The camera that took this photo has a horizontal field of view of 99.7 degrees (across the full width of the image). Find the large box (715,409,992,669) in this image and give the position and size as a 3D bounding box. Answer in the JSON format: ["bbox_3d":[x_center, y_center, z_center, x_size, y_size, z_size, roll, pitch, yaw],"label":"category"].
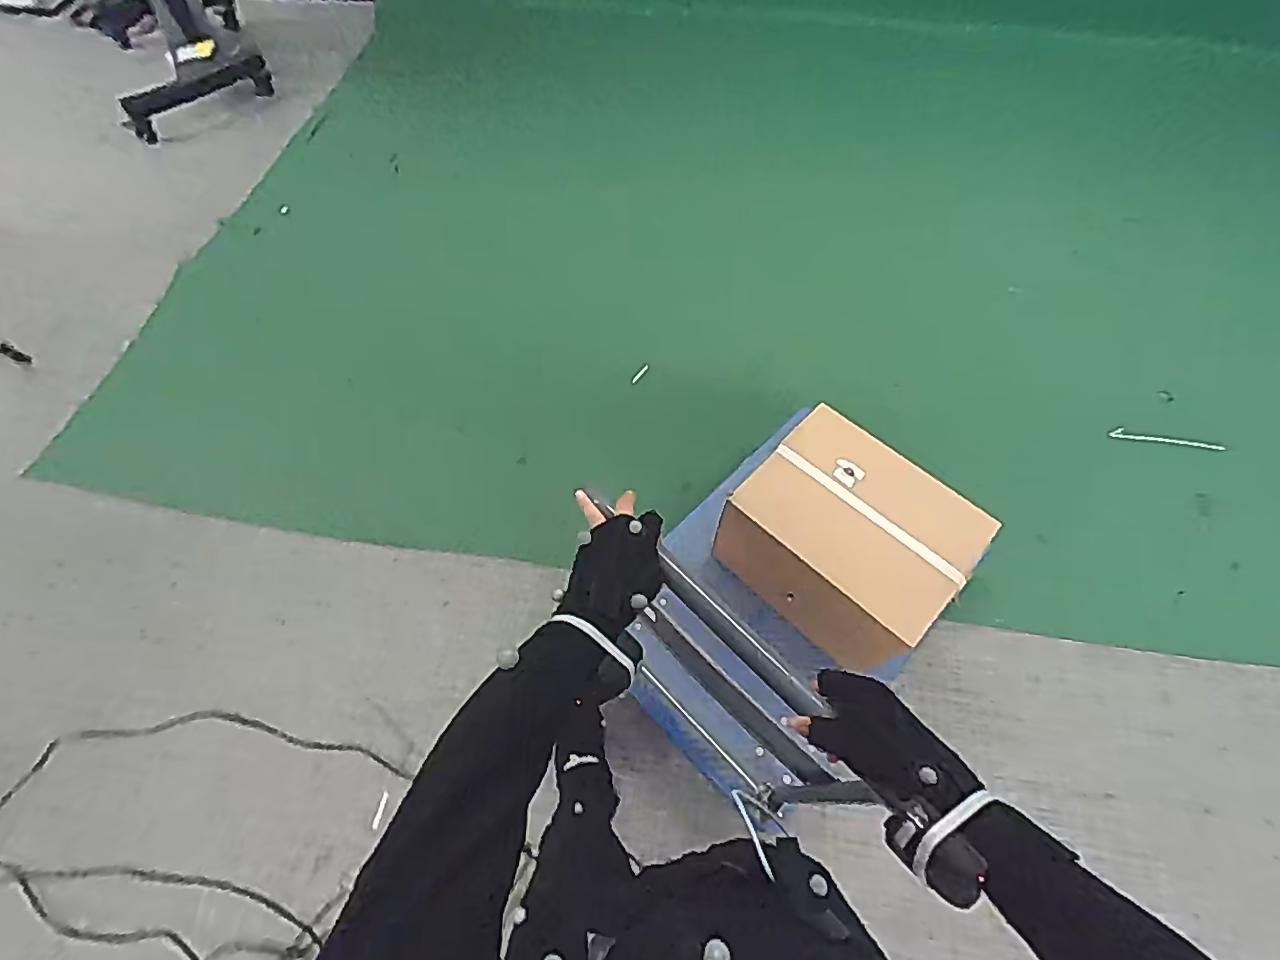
[{"bbox_3d":[0.419,0.132,1.157,0.408,0.320,0.320,40,69,20],"label":"large box"}]
